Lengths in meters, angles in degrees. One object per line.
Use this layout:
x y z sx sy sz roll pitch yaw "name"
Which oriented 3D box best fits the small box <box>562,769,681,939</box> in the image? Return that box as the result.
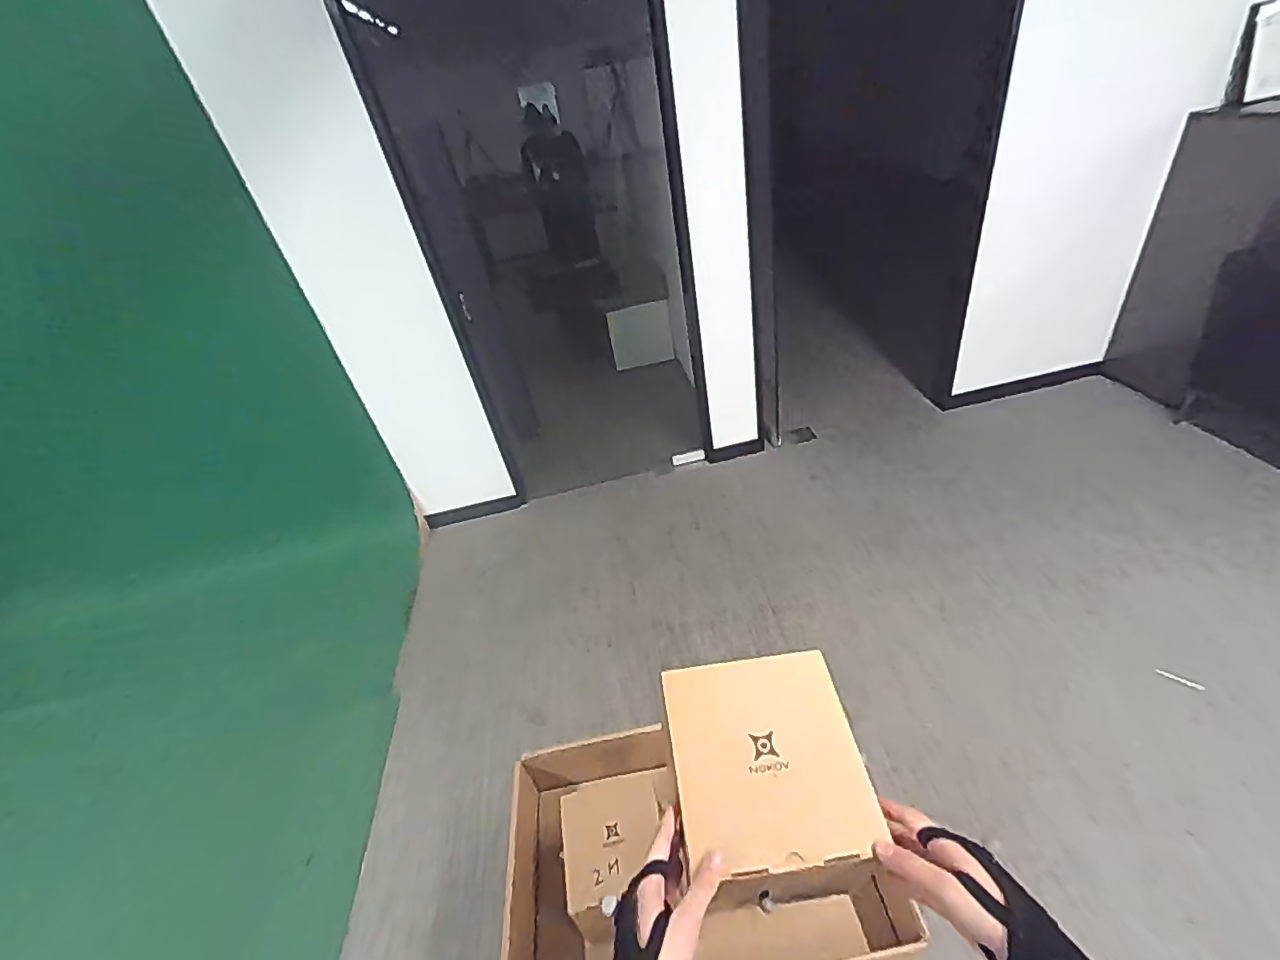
-0.033 0.641 0.930 0.168 0.176 0.179 -14 36 -3 "small box"
